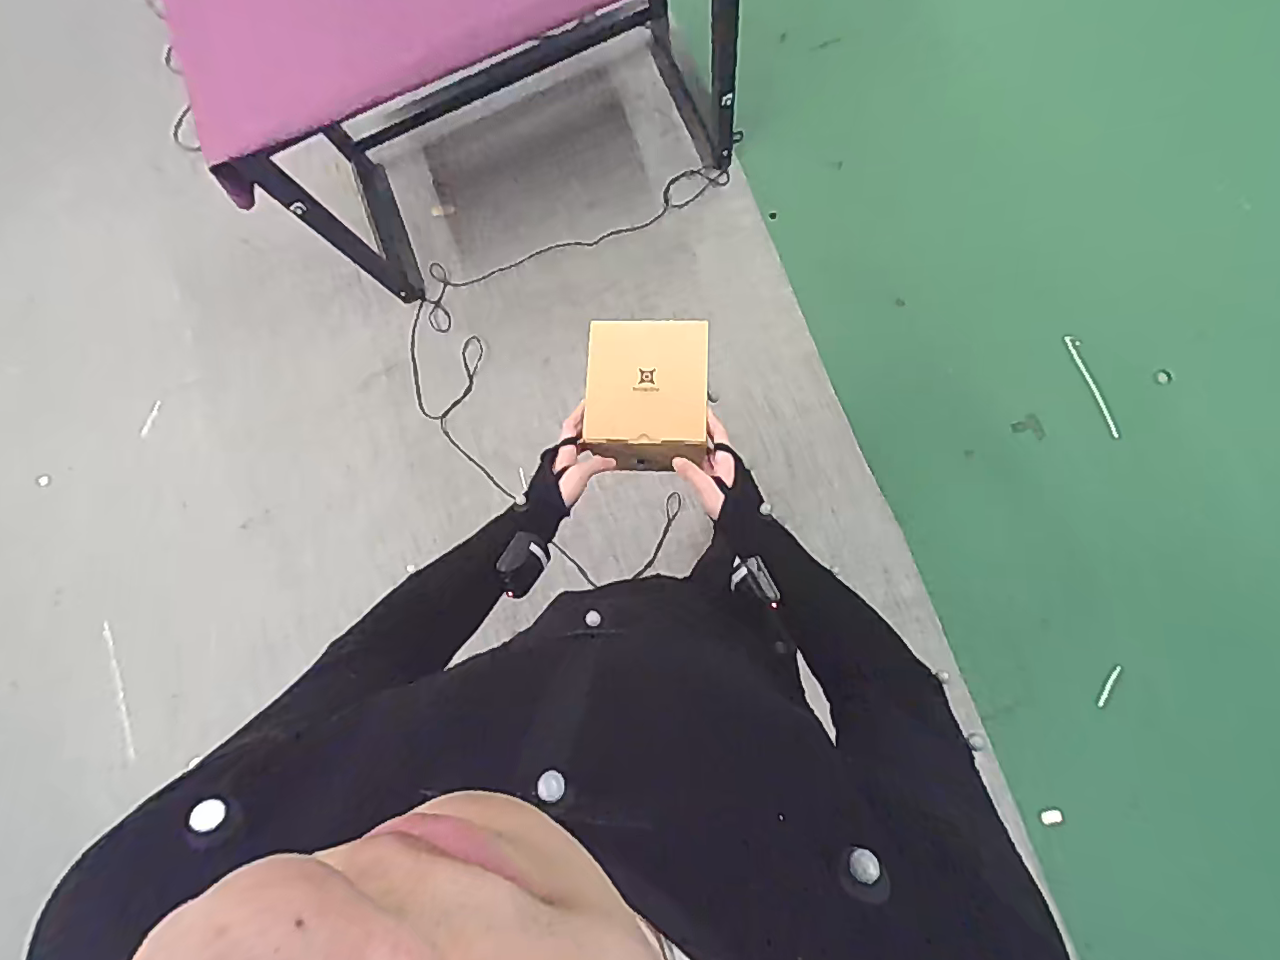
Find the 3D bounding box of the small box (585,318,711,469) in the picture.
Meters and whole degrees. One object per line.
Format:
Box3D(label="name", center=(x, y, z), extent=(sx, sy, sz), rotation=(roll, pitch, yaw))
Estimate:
Box3D(label="small box", center=(0.017, -0.122, 0.804), extent=(0.168, 0.176, 0.179), rotation=(1, 79, 5))
